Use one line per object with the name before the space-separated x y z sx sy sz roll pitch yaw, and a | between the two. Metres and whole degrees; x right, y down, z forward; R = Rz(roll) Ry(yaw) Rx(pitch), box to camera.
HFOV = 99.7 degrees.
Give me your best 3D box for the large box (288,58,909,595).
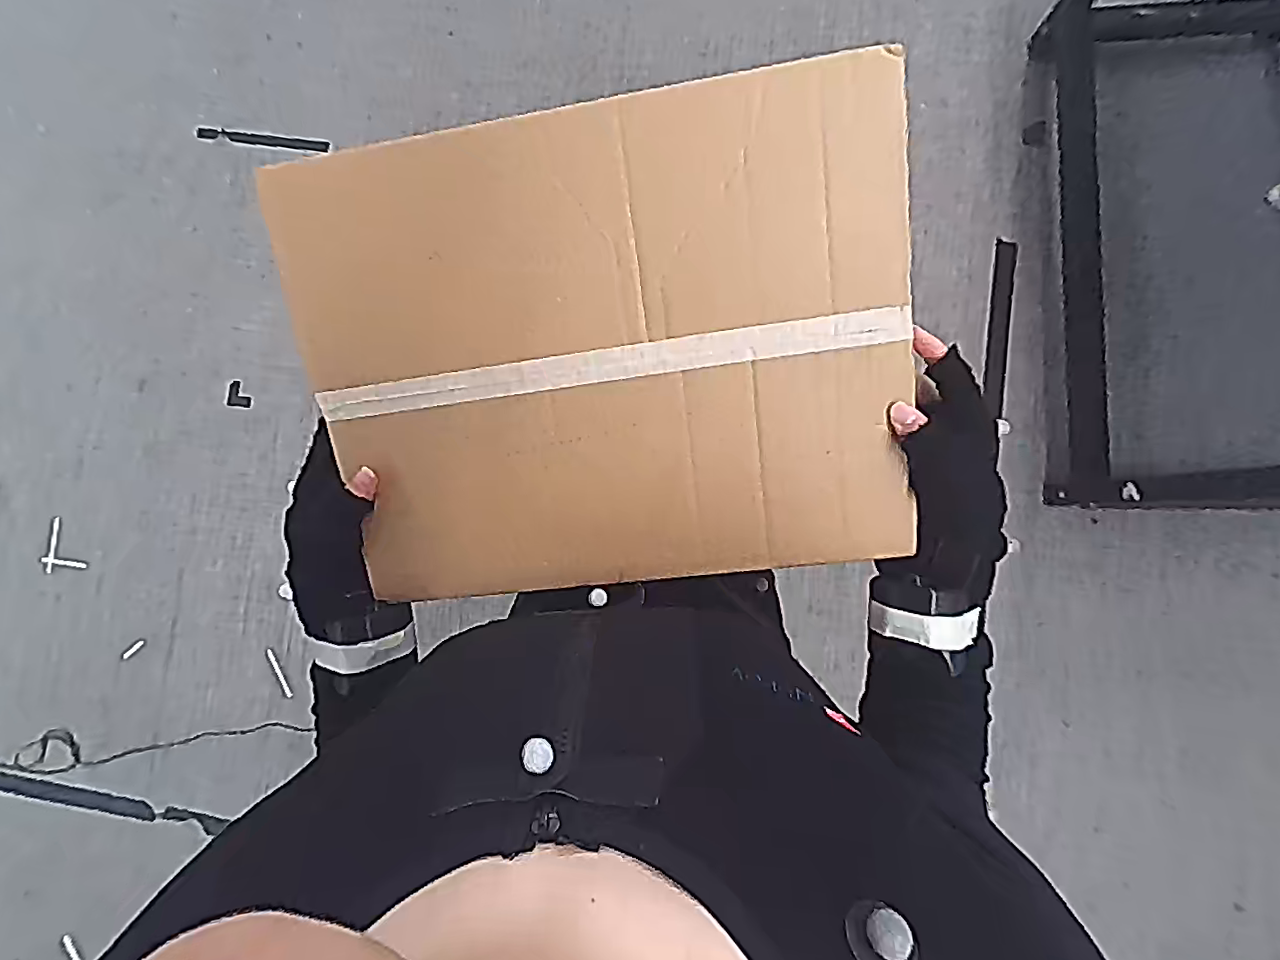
large box | -0.013 -0.114 0.519 0.408 0.320 0.320 -6 104 7
